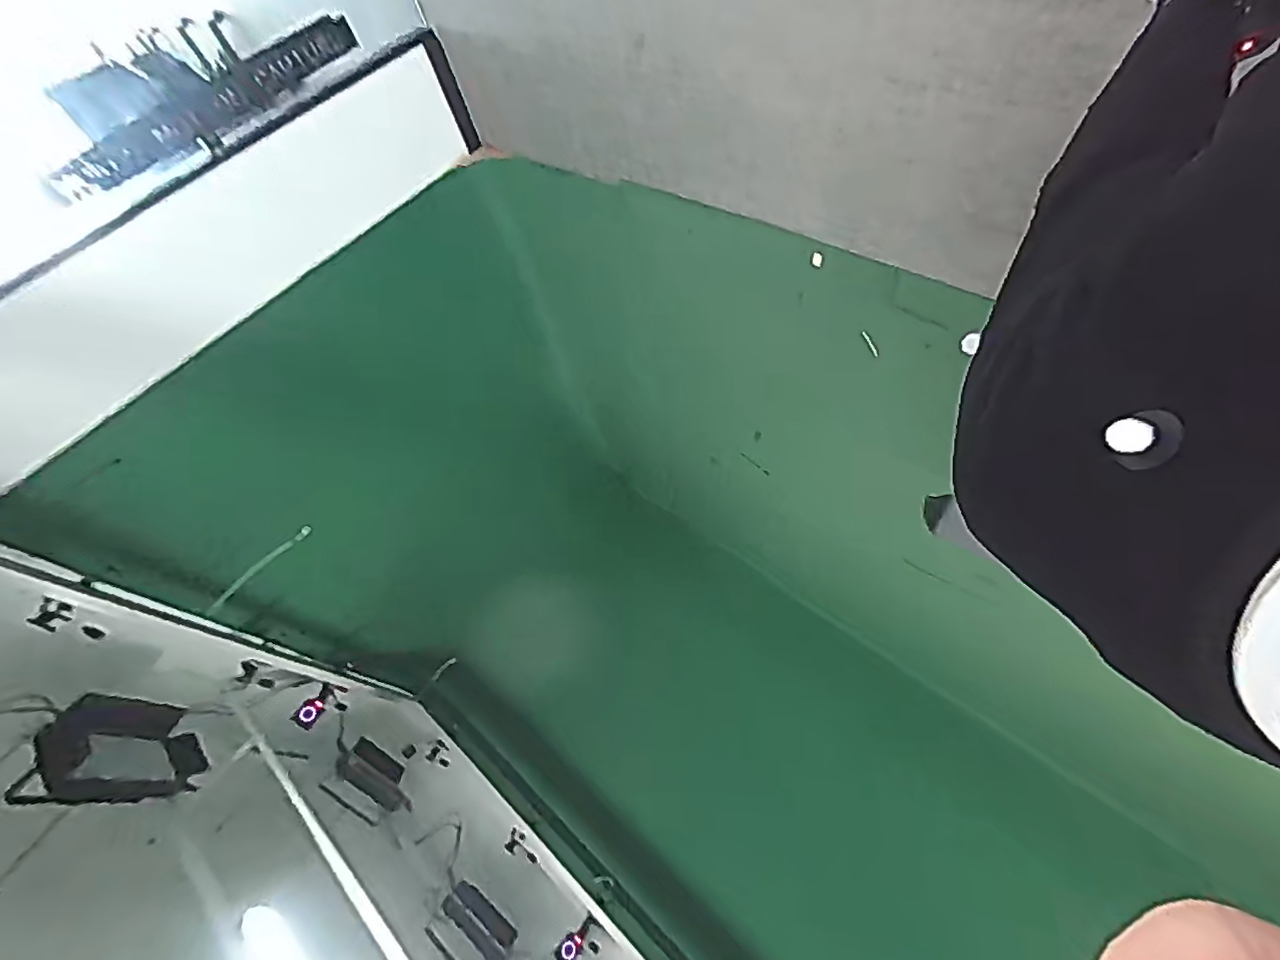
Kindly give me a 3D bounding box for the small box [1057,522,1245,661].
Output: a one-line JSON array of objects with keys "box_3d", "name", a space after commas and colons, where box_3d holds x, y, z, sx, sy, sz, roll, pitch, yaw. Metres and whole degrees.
[{"box_3d": [0.893, 0.188, 0.944, 0.168, 0.176, 0.179, 43, 160, -5], "name": "small box"}]
